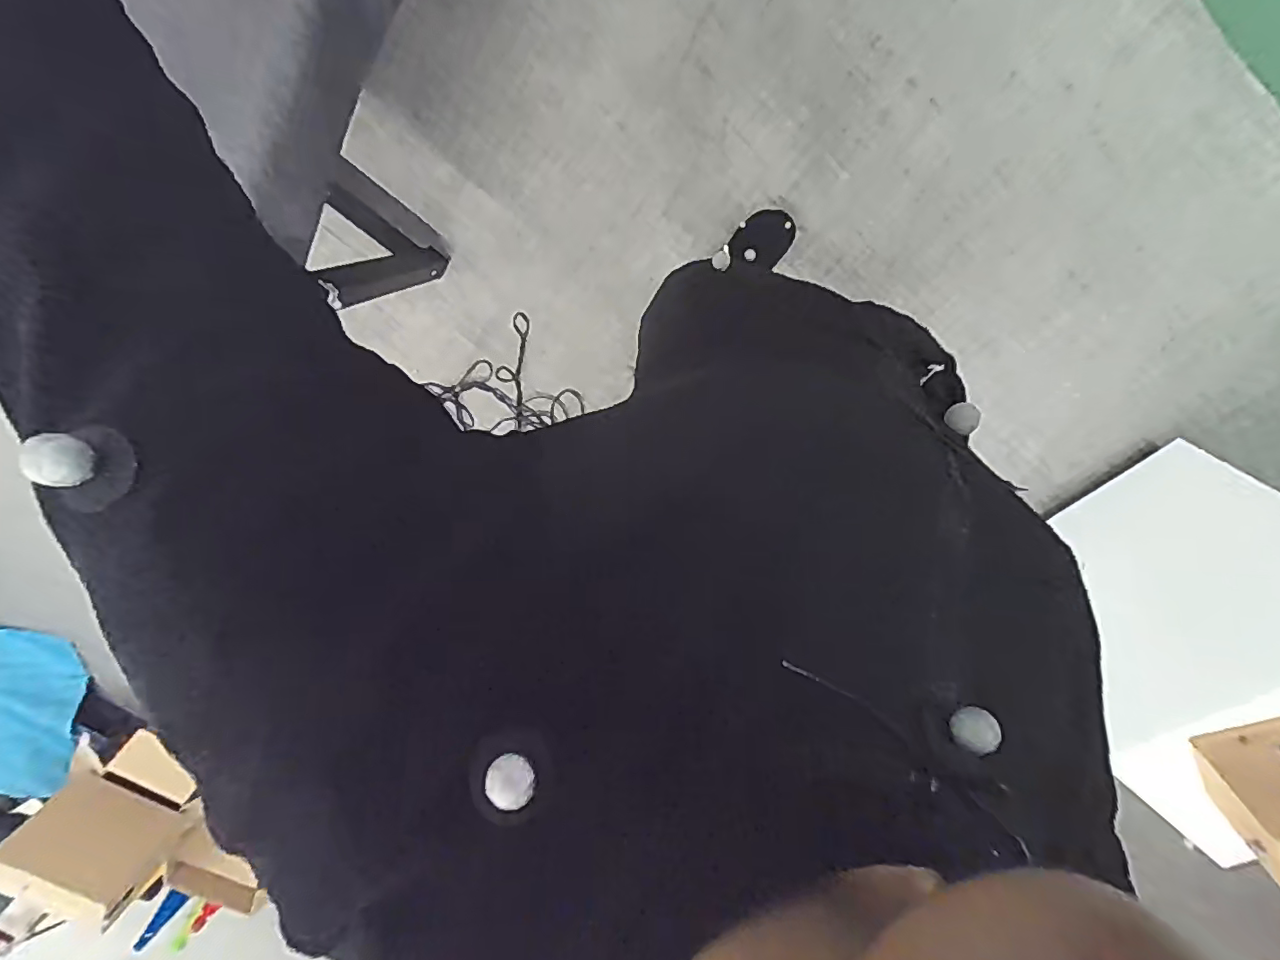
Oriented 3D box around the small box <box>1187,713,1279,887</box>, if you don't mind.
[{"bbox_3d":[0.989,0.480,0.809,0.168,0.176,0.179,-29,111,22],"label":"small box"}]
